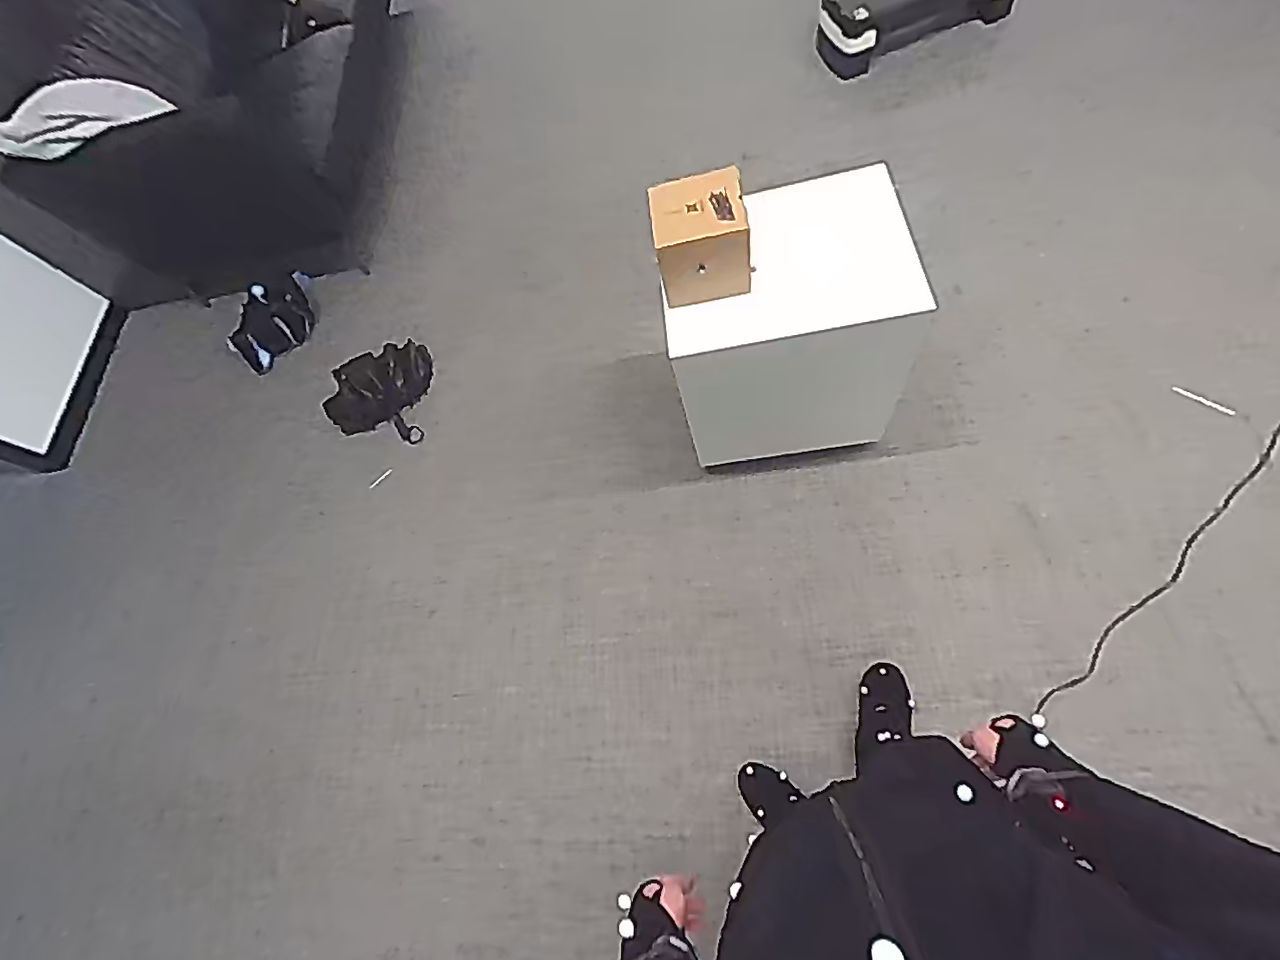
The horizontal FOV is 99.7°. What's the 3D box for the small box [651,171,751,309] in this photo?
[{"bbox_3d":[0.125,-0.470,1.080,0.179,0.176,0.168,-9,66,10],"label":"small box"}]
